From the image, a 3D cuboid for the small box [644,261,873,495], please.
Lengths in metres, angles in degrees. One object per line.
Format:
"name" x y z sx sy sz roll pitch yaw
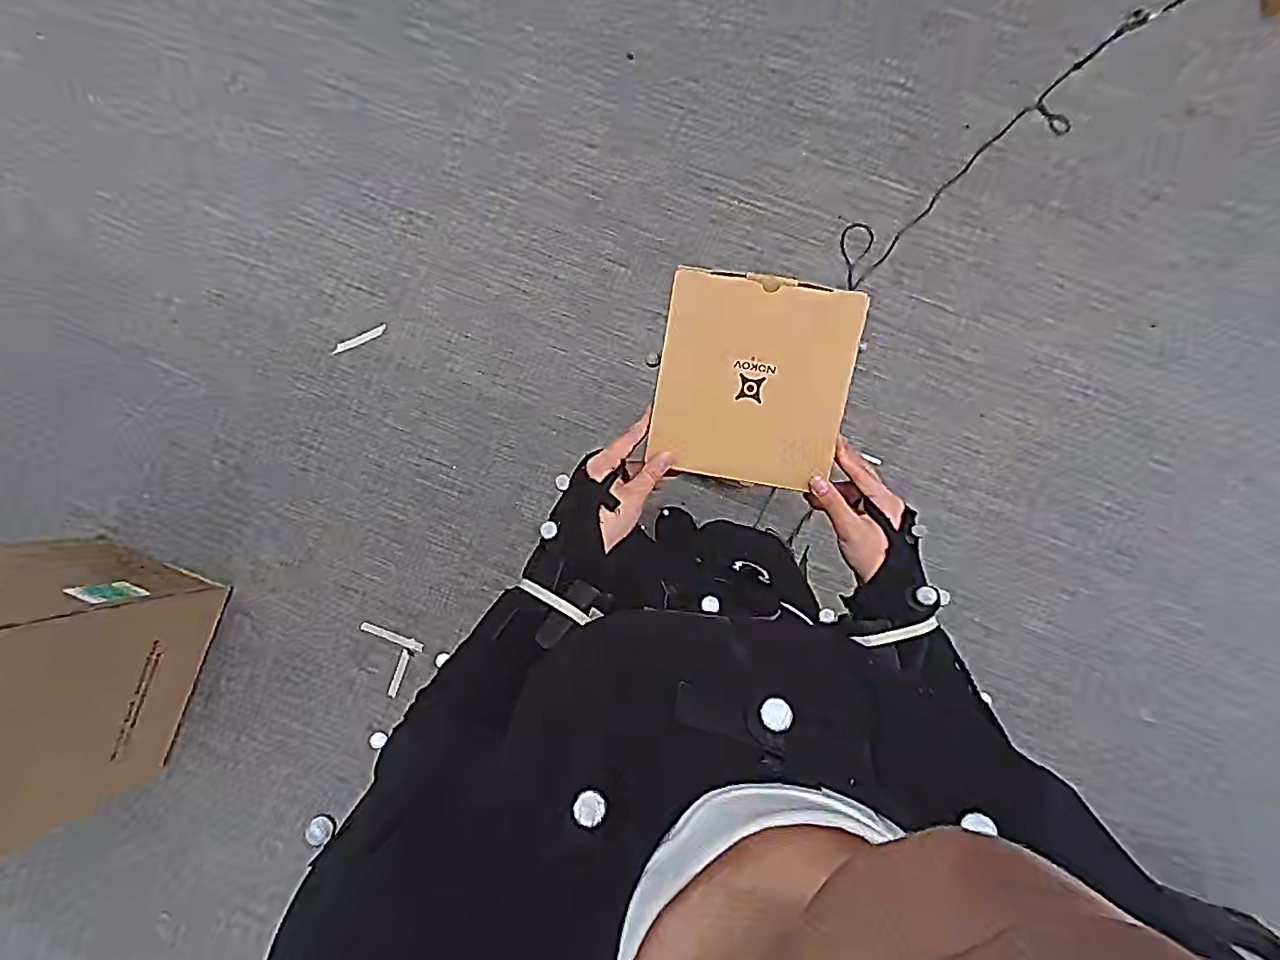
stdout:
"small box" 0.105 -0.097 0.535 0.168 0.176 0.179 10 99 4
